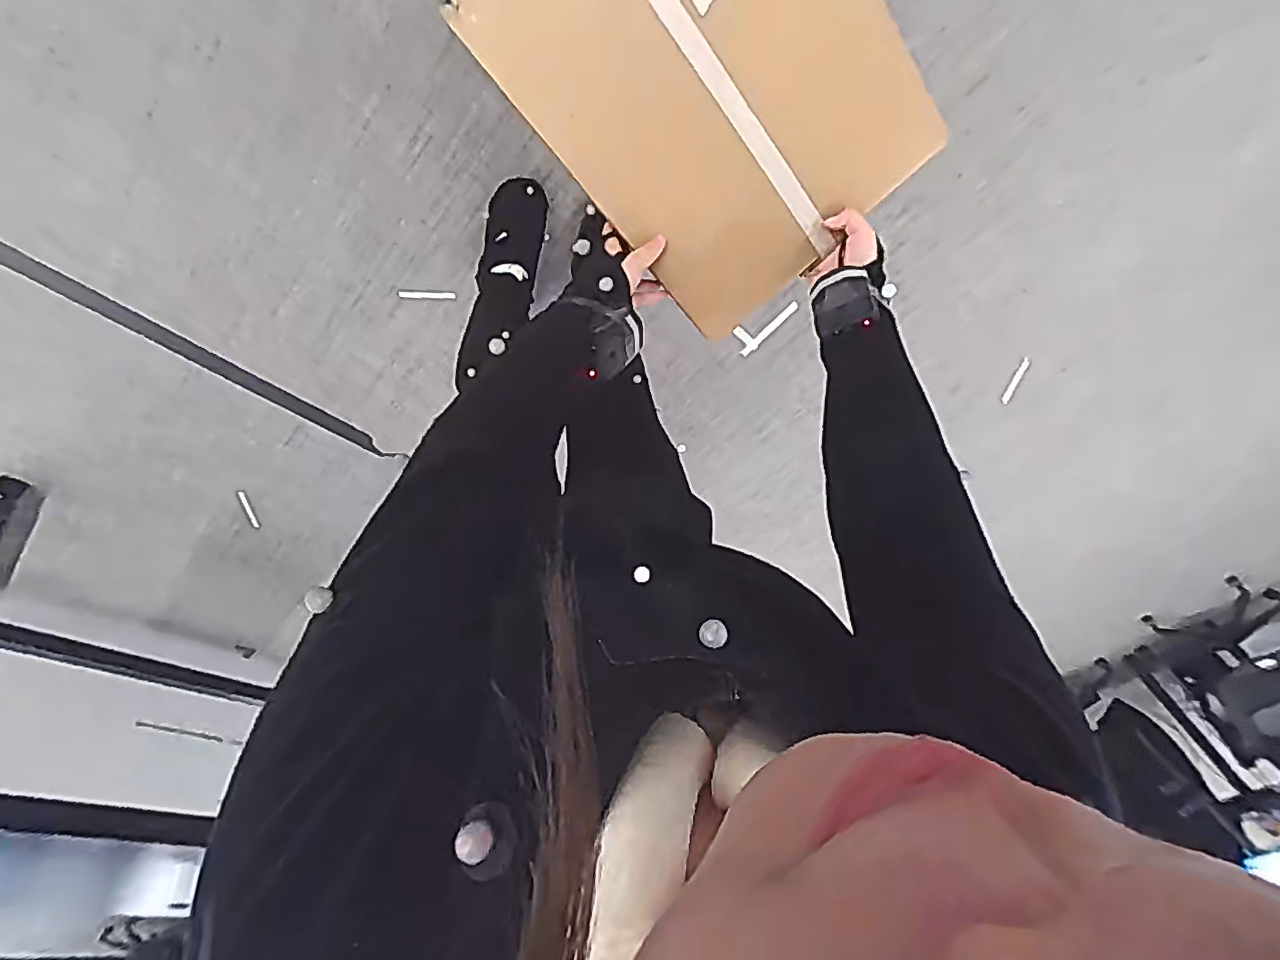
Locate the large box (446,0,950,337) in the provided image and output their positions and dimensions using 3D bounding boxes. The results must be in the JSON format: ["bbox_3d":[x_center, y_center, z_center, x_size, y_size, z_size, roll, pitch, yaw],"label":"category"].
[{"bbox_3d":[0.064,-0.446,0.646,0.320,0.320,0.408,-40,111,15],"label":"large box"}]
